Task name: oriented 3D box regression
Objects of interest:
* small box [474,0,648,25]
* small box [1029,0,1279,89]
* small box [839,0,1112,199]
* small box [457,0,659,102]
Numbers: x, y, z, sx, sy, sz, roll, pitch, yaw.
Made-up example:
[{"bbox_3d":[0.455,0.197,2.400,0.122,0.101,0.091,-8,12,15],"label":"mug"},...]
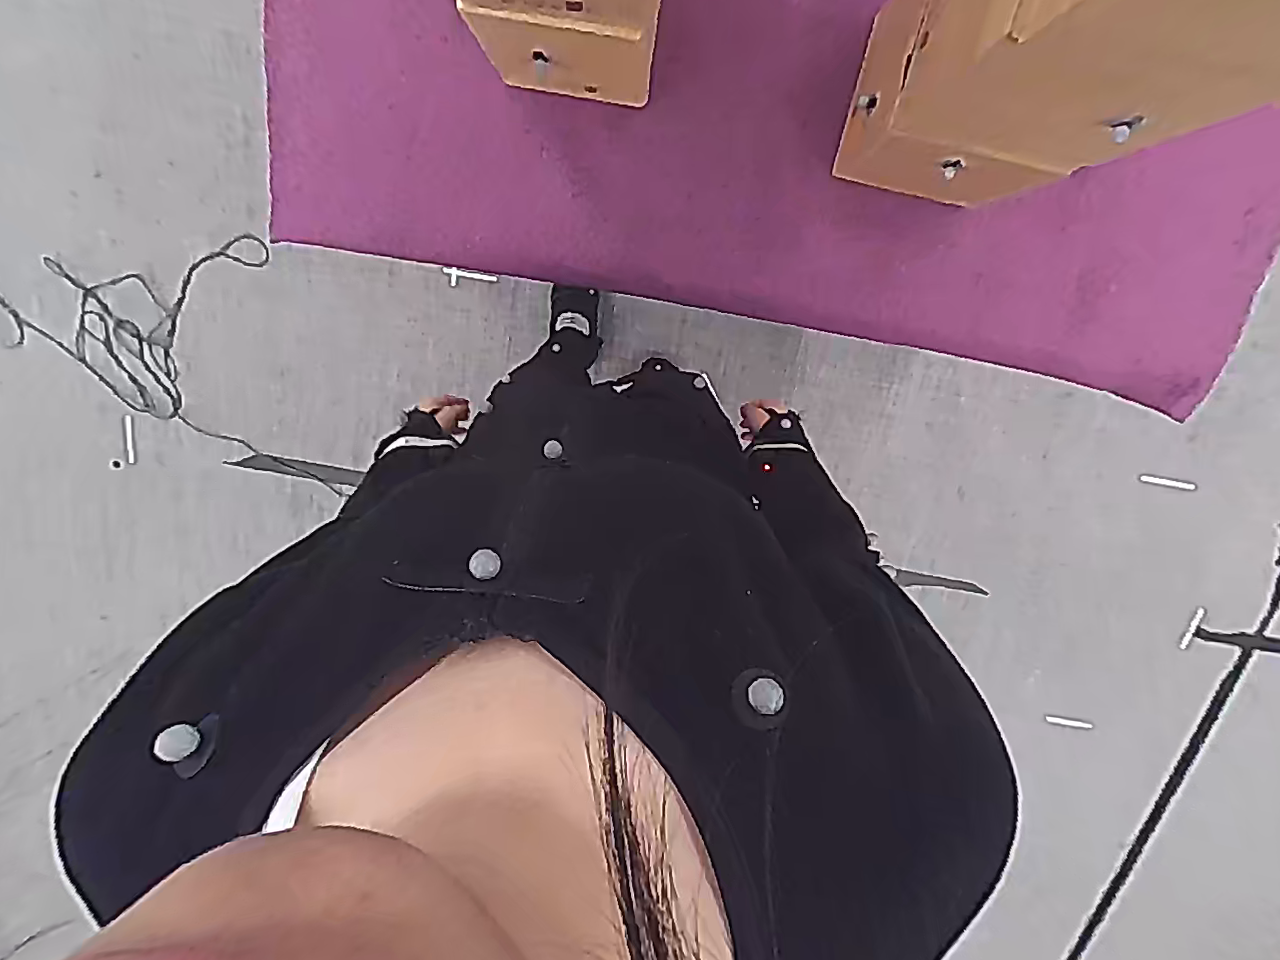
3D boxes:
[{"bbox_3d":[-0.066,-0.463,0.364,0.168,0.176,0.179,7,105,0],"label":"small box"},{"bbox_3d":[0.327,-0.301,0.229,0.179,0.176,0.168,11,106,-1],"label":"small box"},{"bbox_3d":[0.326,-0.400,0.544,0.179,0.176,0.168,11,107,-3],"label":"small box"},{"bbox_3d":[-0.064,-0.501,0.523,0.168,0.176,0.179,9,106,-1],"label":"small box"}]
